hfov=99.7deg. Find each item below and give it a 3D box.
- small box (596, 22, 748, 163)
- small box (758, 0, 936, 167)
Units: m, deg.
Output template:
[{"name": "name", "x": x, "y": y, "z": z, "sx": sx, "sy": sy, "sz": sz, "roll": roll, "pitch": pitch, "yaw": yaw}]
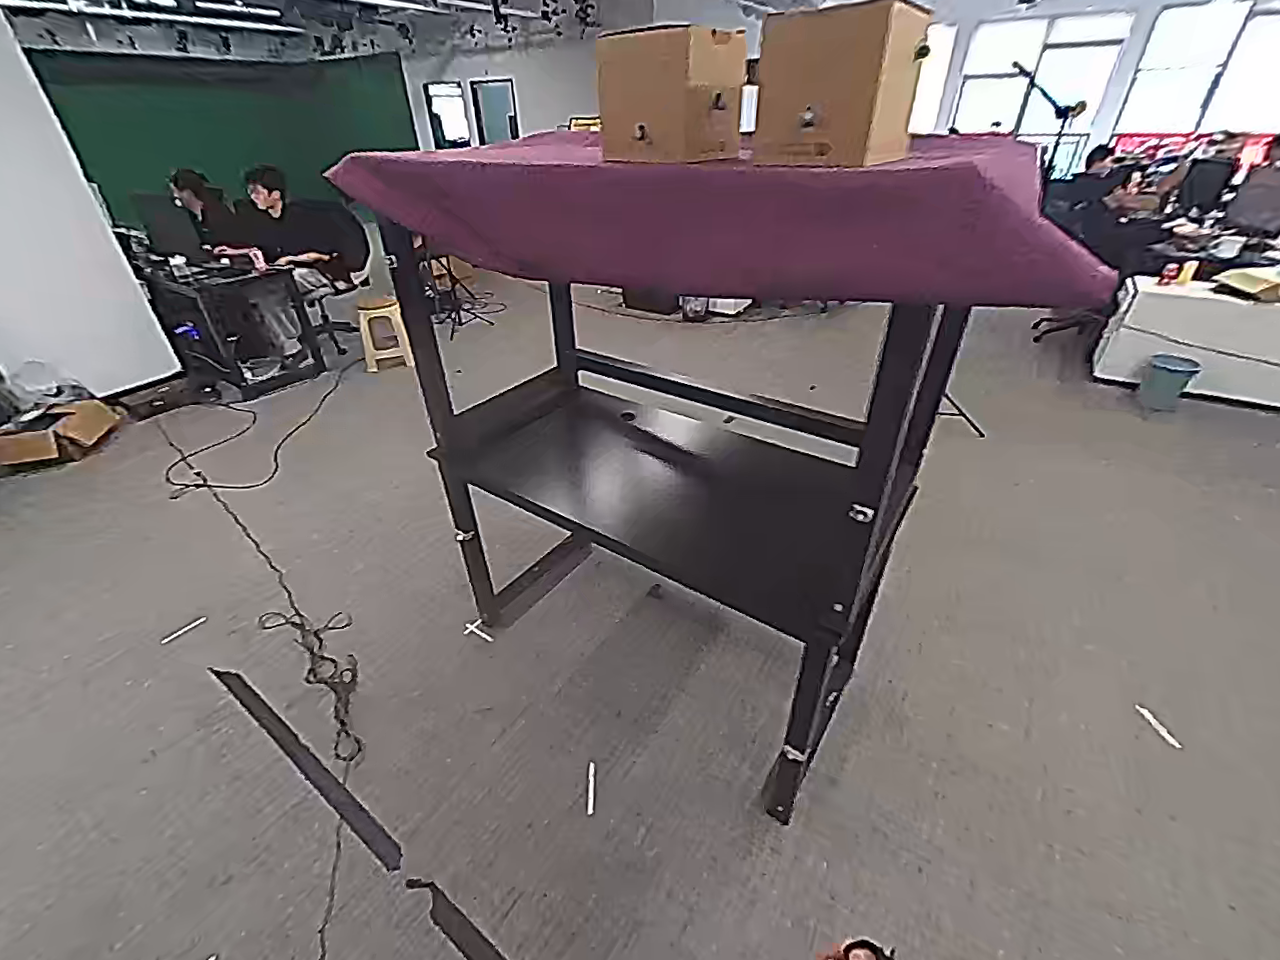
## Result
[{"name": "small box", "x": 0.050, "y": -0.609, "z": 0.864, "sx": 0.179, "sy": 0.176, "sz": 0.168, "roll": 24, "pitch": 40, "yaw": 31}, {"name": "small box", "x": 0.272, "y": -0.530, "z": 0.734, "sx": 0.168, "sy": 0.176, "sz": 0.179, "roll": 22, "pitch": 40, "yaw": 32}]
